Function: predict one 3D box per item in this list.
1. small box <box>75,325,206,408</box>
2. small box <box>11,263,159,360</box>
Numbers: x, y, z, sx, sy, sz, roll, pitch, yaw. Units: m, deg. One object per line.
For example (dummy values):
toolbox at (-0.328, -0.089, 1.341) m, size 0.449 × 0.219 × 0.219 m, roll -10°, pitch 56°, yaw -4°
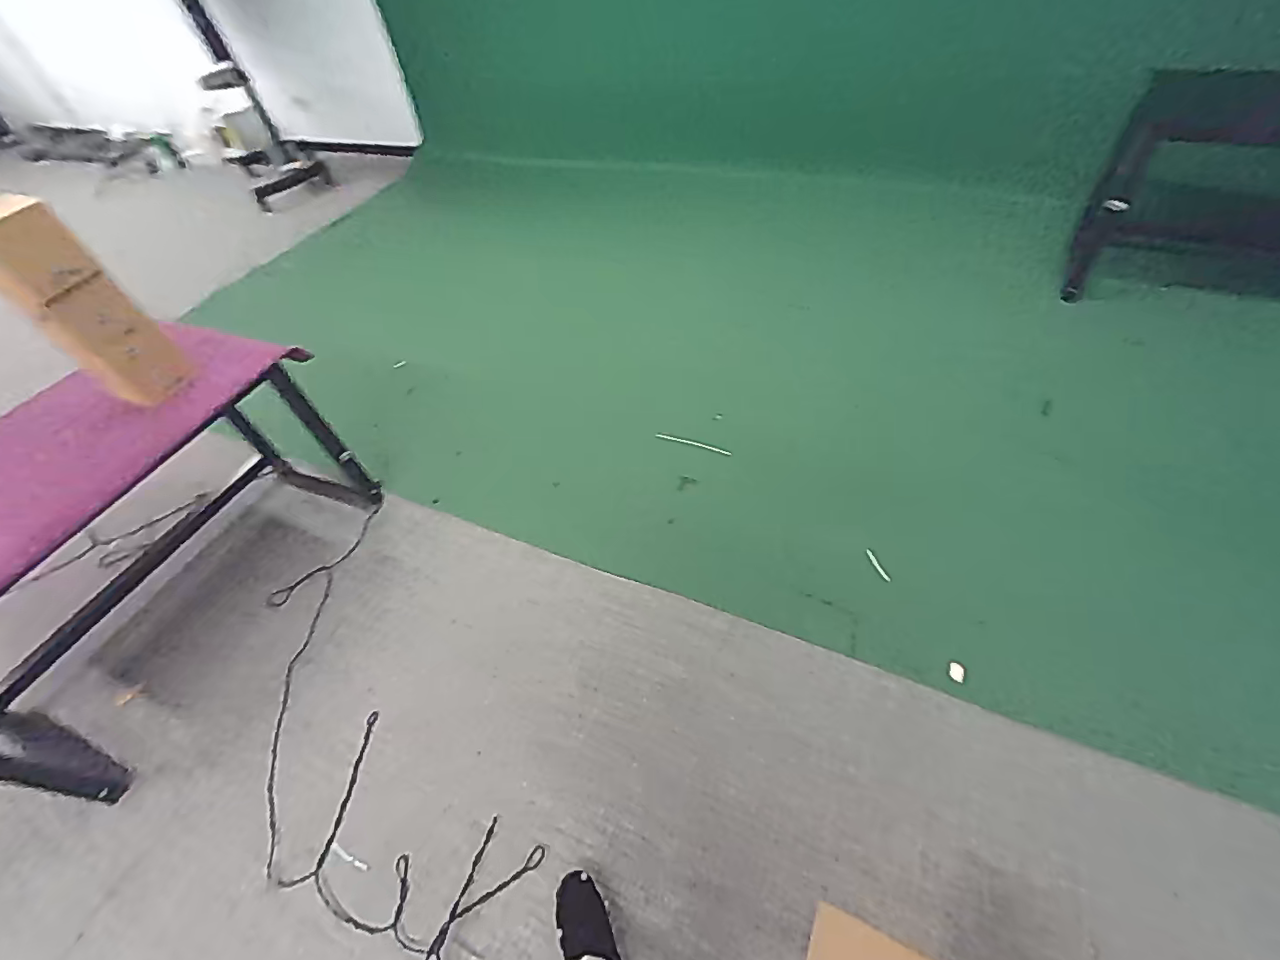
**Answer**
small box at (-1.390, -0.324, 1.516) m, size 0.179 × 0.176 × 0.168 m, roll 14°, pitch 55°, yaw 21°
small box at (-1.413, -0.429, 1.391) m, size 0.179 × 0.176 × 0.168 m, roll 15°, pitch 54°, yaw 21°
